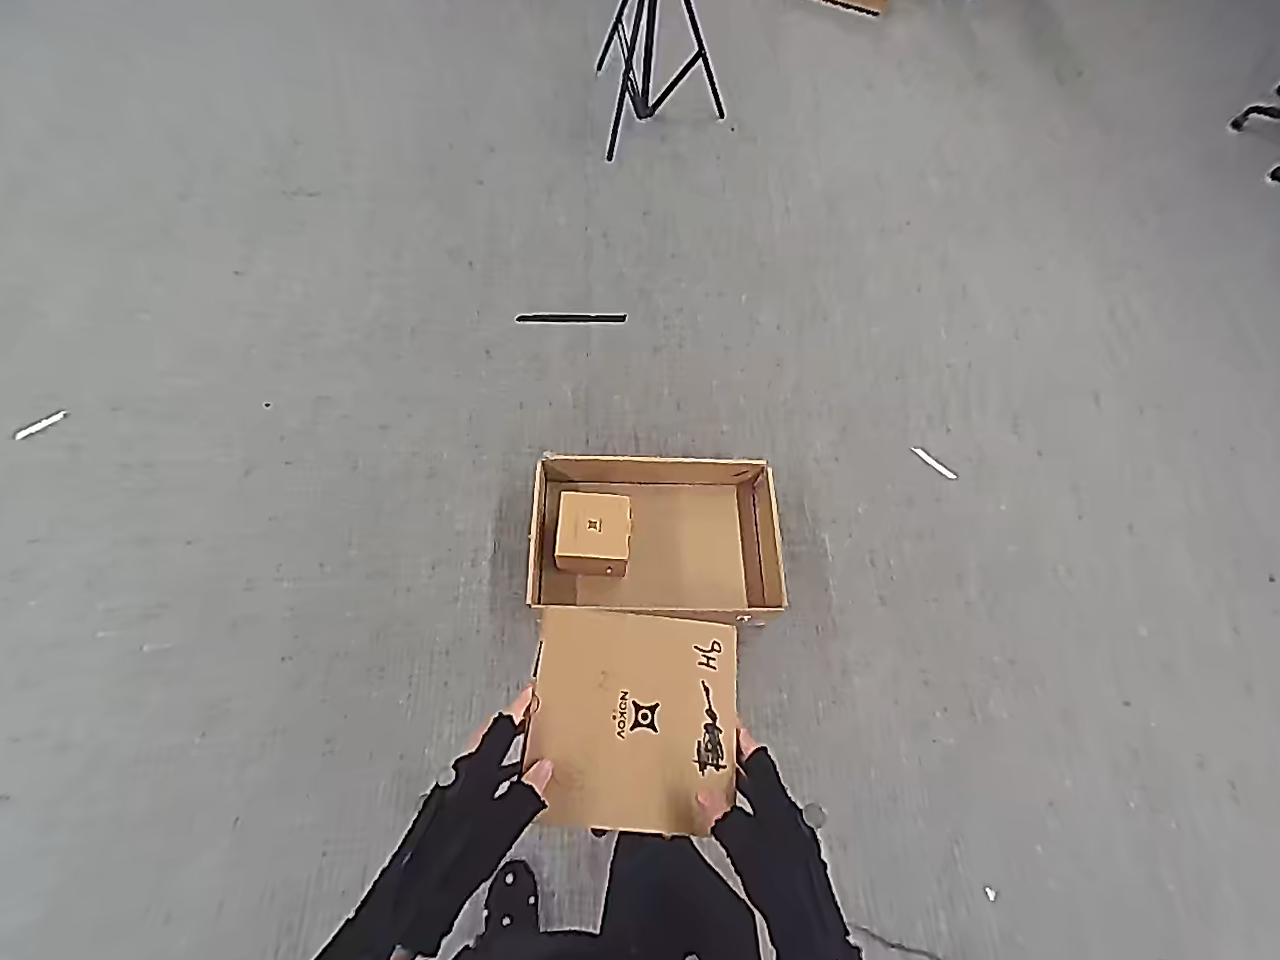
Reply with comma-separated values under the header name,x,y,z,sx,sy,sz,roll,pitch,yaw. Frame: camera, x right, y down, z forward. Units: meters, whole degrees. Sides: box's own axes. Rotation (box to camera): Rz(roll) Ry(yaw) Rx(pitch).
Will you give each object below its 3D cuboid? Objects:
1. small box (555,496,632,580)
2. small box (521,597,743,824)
name,x,y,z,sx,sy,sz,roll,pitch,yaw
small box,-0.117,0.152,1.377,0.179,0.176,0.168,4,65,-4
small box,-0.007,0.223,0.523,0.179,0.176,0.168,6,62,-3
